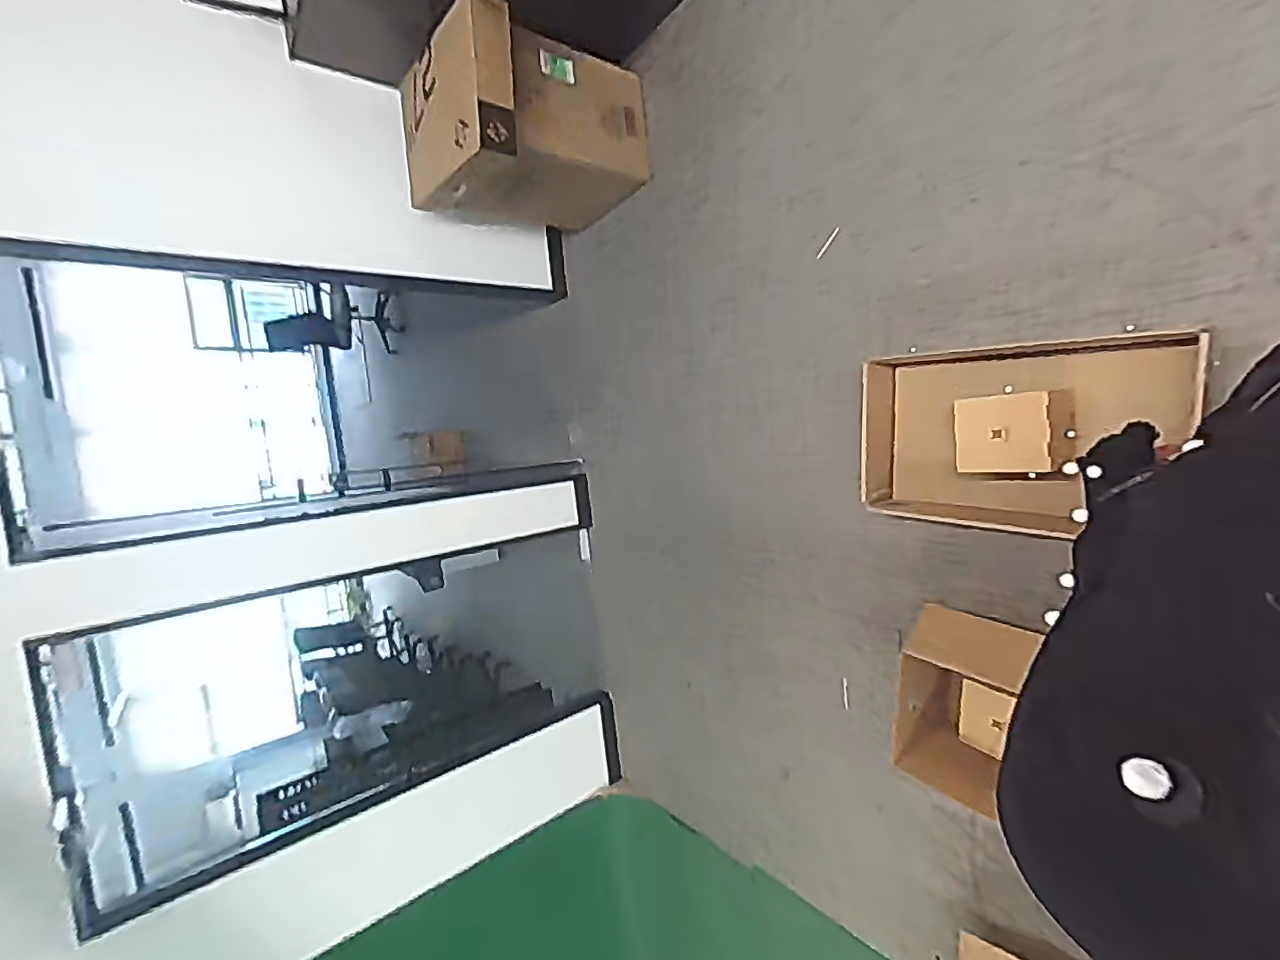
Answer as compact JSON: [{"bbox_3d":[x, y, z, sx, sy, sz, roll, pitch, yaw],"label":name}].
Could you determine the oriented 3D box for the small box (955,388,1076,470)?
[{"bbox_3d":[0.824,-0.109,1.188,0.179,0.176,0.168,0,96,52],"label":"small box"}]
